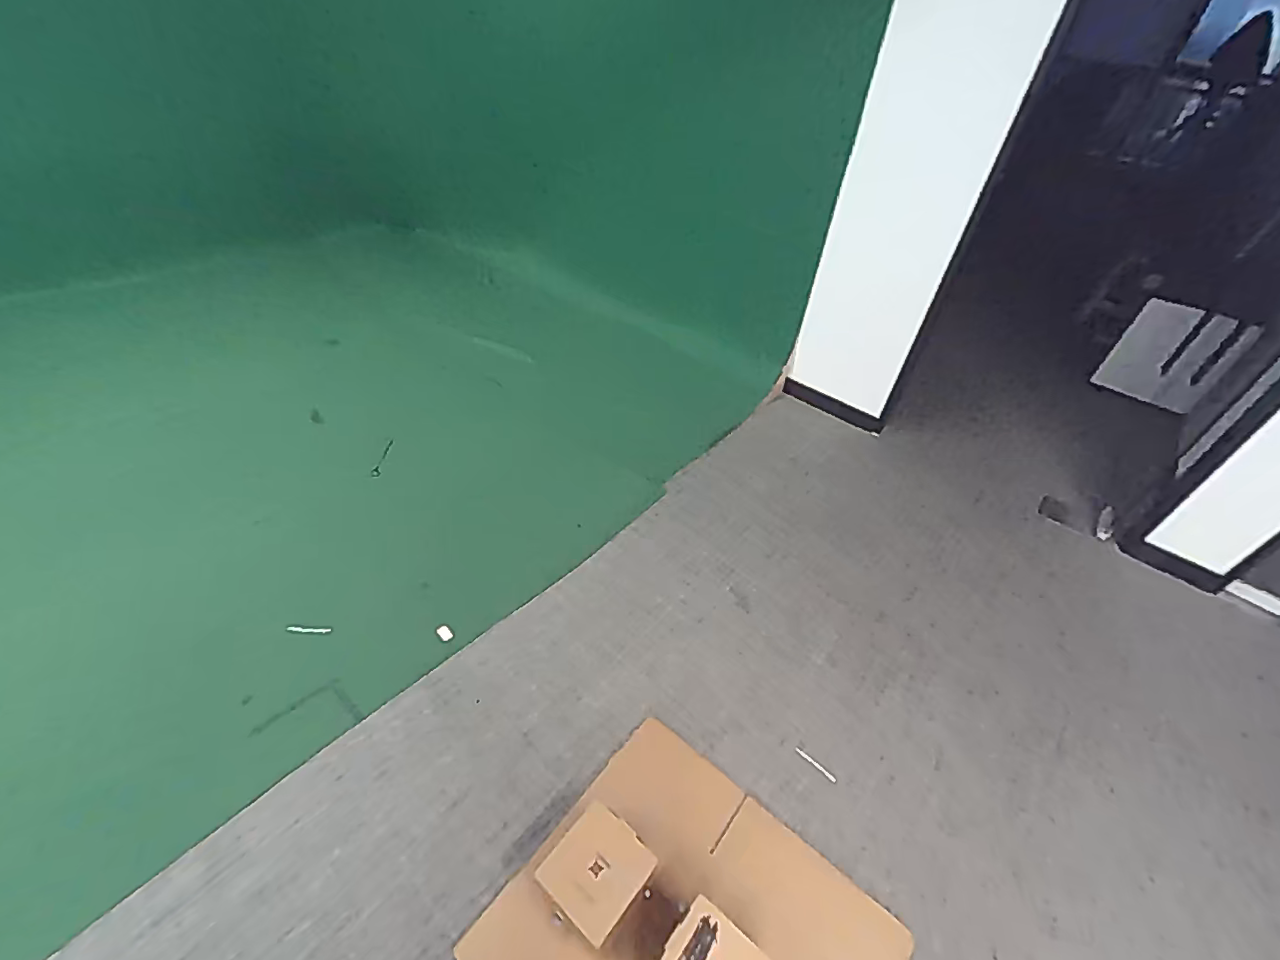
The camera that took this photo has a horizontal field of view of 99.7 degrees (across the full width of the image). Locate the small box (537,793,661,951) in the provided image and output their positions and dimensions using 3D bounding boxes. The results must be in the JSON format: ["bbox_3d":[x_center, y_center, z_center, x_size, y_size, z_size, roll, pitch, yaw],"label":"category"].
[{"bbox_3d":[-0.082,0.768,1.062,0.168,0.176,0.179,31,50,26],"label":"small box"}]
